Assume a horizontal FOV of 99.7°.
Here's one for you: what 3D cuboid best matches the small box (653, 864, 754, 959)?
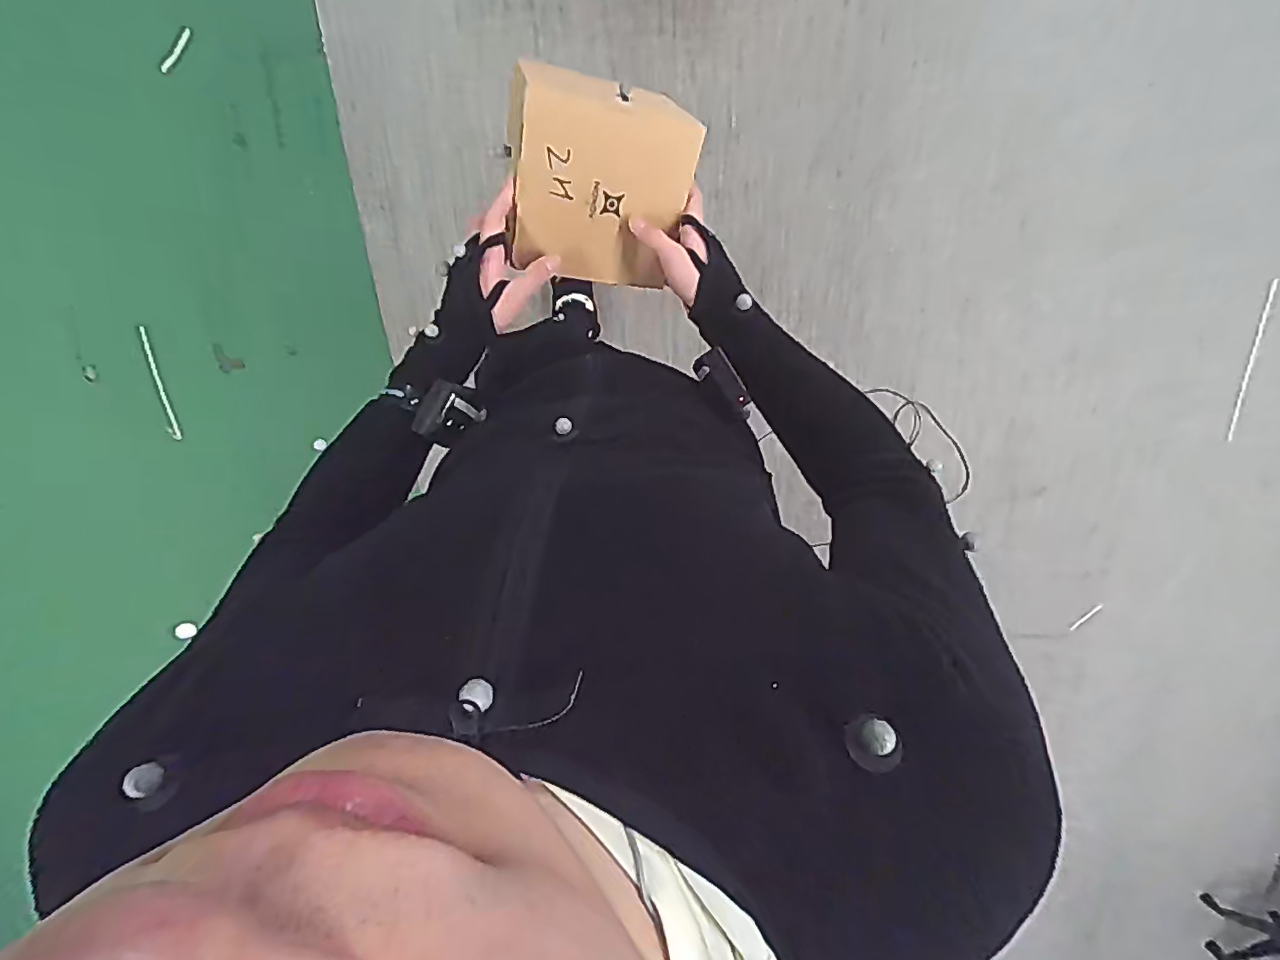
[{"bbox_3d":[0.134,0.971,1.168,0.168,0.176,0.179,-23,109,6],"label":"small box"}]

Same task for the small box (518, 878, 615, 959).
[{"bbox_3d":[-0.153,1.013,1.175,0.179,0.176,0.168,-10,110,0],"label":"small box"}]

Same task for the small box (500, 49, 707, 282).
[{"bbox_3d":[-0.054,-0.341,0.589,0.179,0.176,0.168,2,133,-19],"label":"small box"}]
